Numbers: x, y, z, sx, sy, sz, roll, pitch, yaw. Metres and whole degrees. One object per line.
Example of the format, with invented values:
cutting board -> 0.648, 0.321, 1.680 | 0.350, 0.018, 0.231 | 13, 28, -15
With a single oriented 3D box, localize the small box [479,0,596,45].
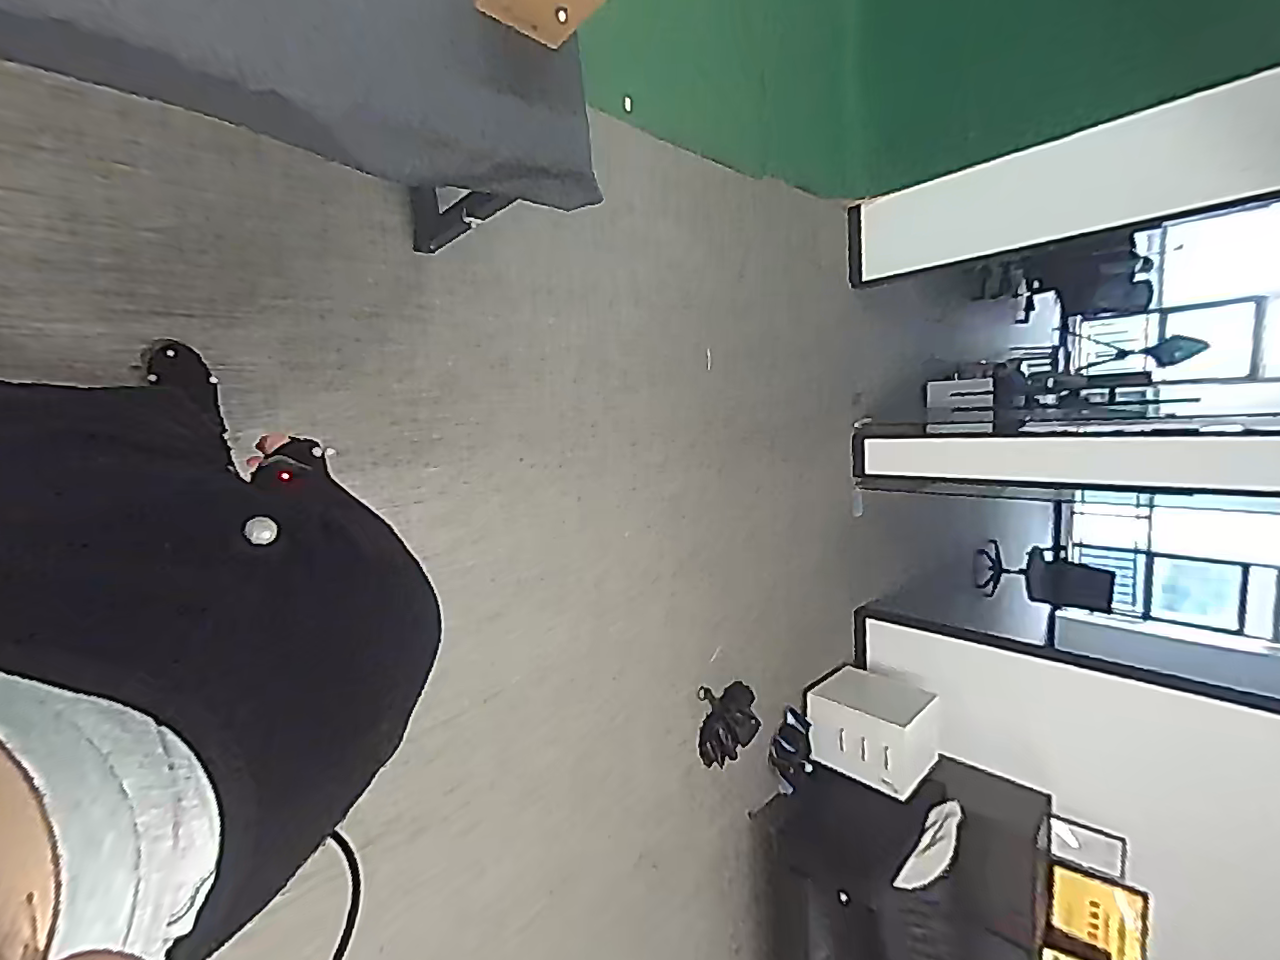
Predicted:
small box -> -0.169, -0.865, 0.875 | 0.168, 0.176, 0.179 | -9, 97, -44
